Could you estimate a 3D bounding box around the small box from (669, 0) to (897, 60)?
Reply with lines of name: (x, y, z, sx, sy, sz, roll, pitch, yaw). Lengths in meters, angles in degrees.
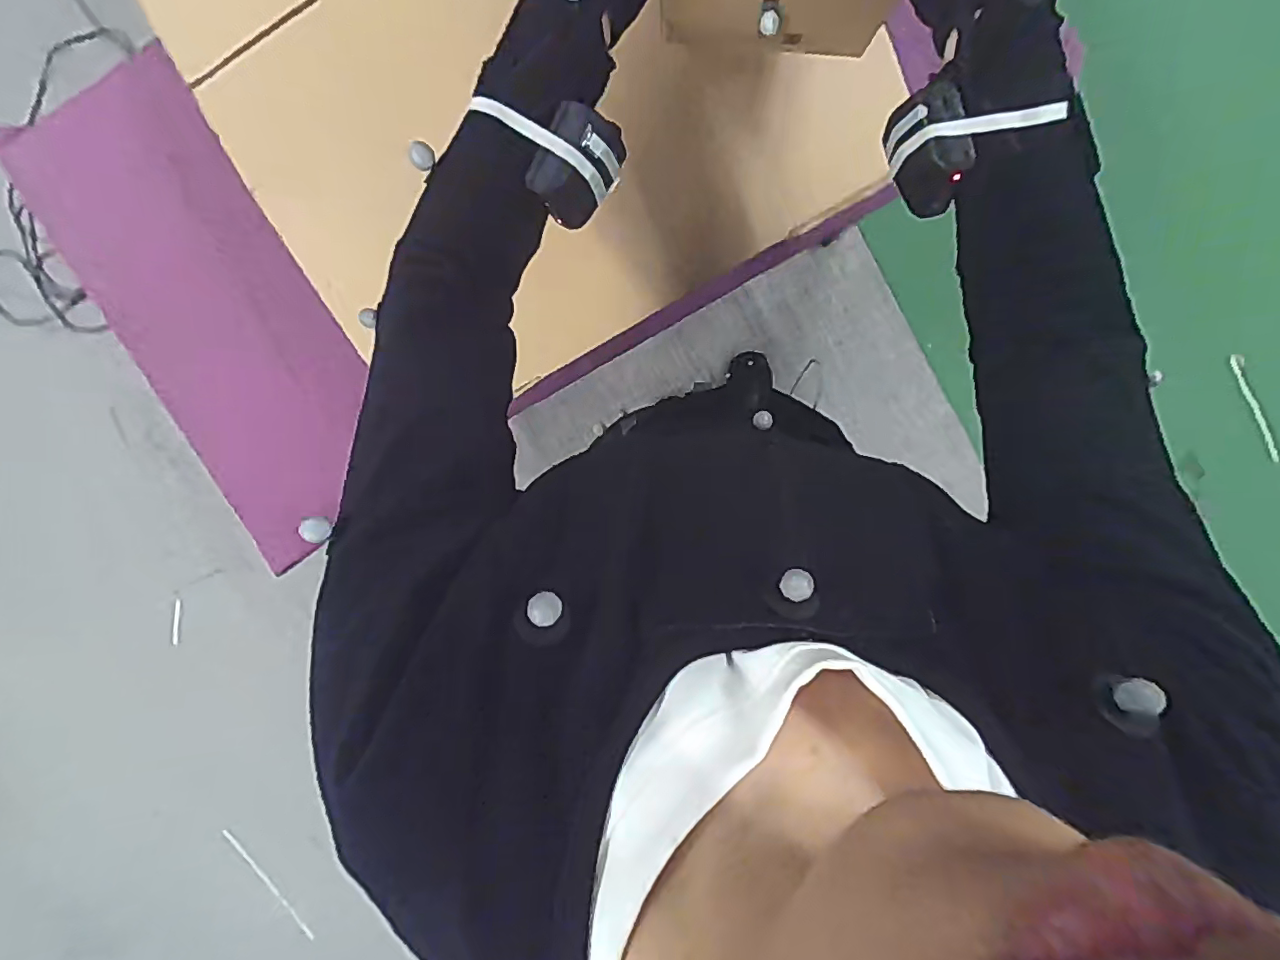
small box: (0.108, -0.421, 0.347, 0.168, 0.176, 0.179, 7, 103, 2)
